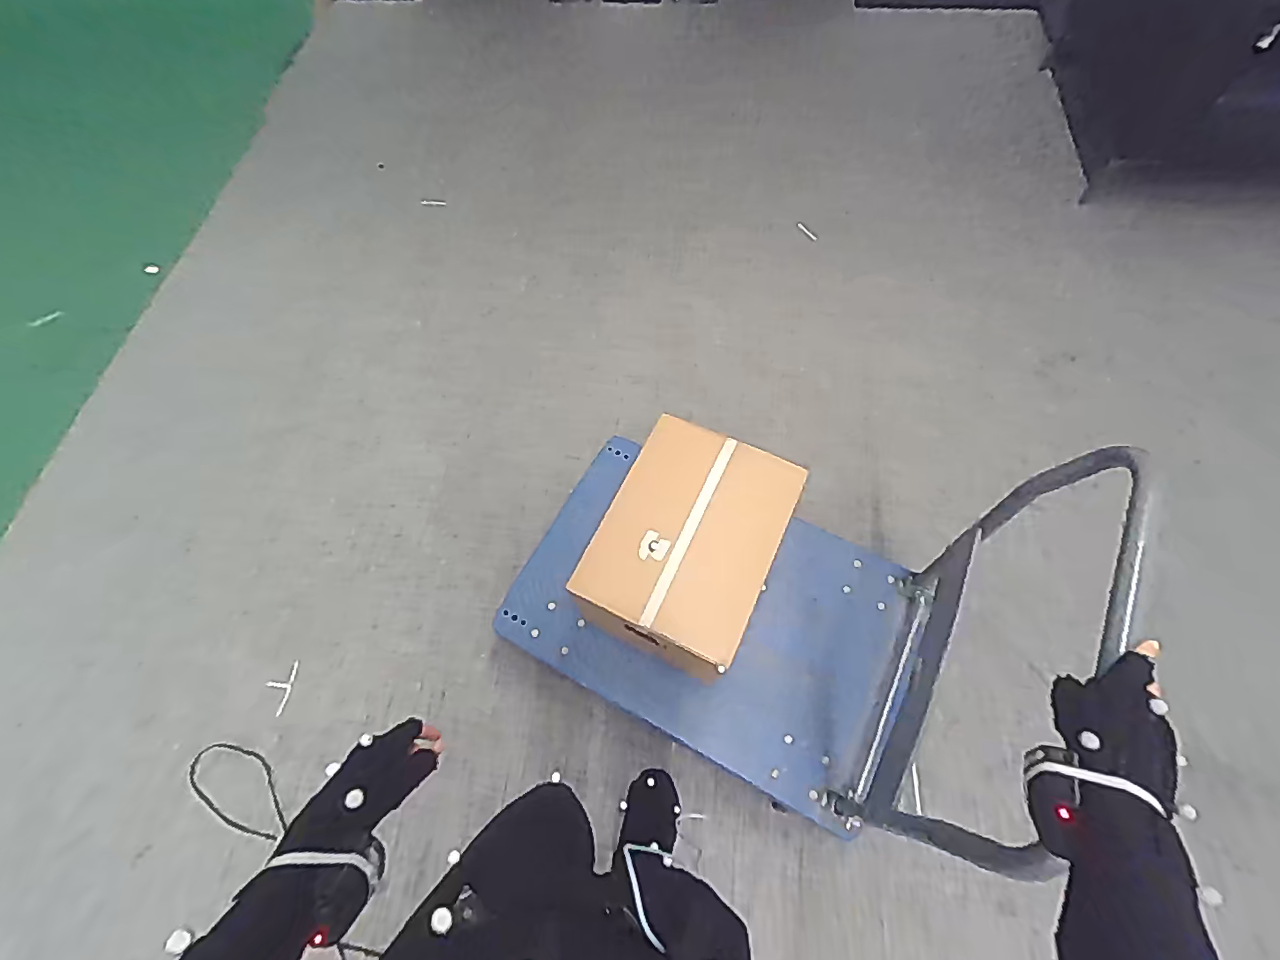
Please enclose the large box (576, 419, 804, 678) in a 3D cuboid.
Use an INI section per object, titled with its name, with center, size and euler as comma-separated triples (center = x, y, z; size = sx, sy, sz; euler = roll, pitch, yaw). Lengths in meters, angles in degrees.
[large box]
center = 0.107, 0.153, 1.137
size = 0.320, 0.320, 0.408
euler = 22, 69, 13
